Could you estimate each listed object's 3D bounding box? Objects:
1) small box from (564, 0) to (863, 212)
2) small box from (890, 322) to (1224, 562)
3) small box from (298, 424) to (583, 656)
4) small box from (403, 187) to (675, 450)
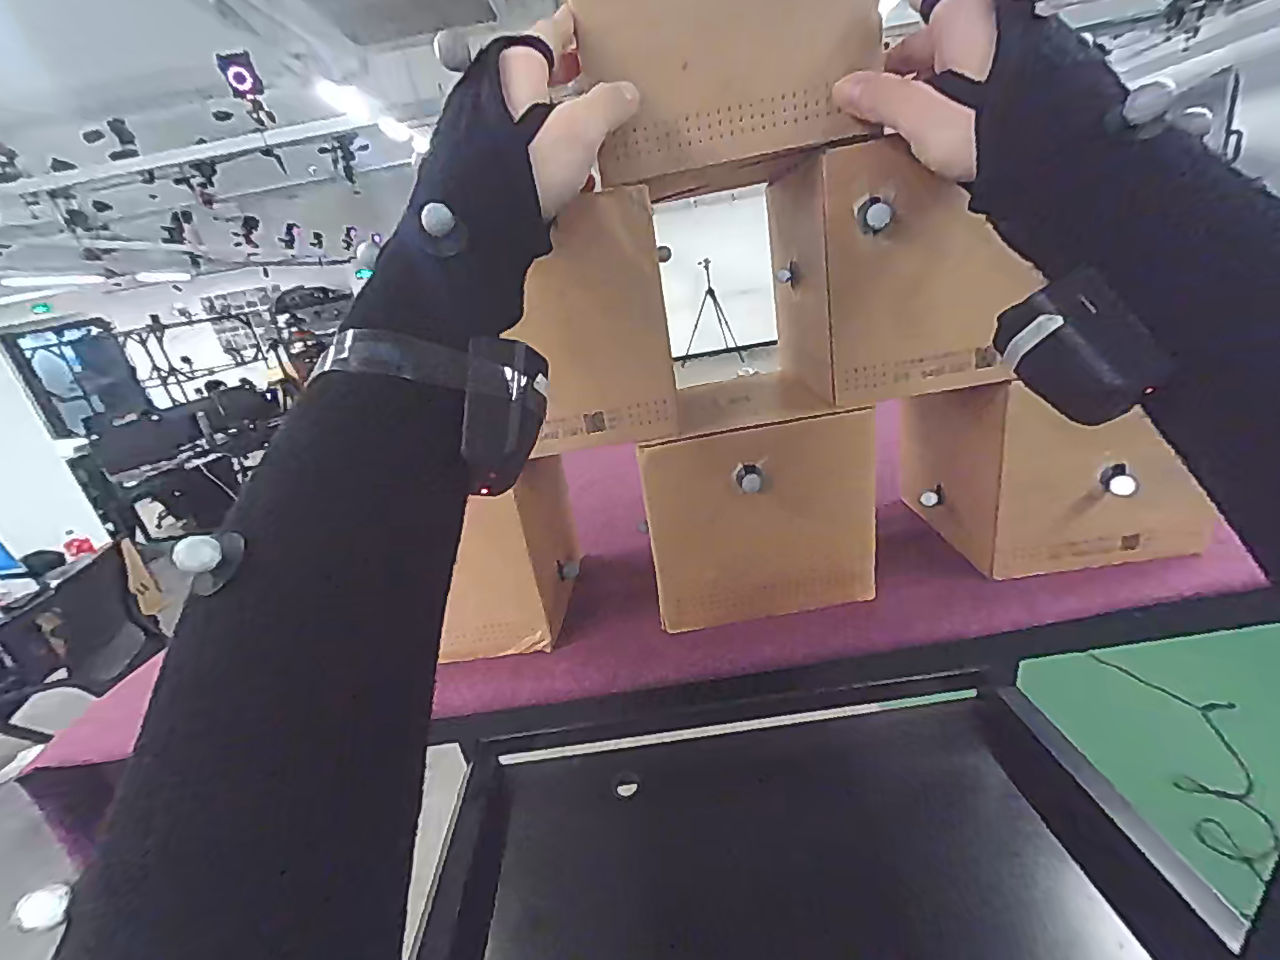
[{"bbox_3d":[0.046,-0.300,0.391,0.179,0.176,0.168,-9,21,5],"label":"small box"},{"bbox_3d":[0.346,-0.036,0.490,0.168,0.176,0.179,-8,21,4],"label":"small box"},{"bbox_3d":[-0.165,0.047,0.510,0.179,0.176,0.168,-7,21,6],"label":"small box"},{"bbox_3d":[-0.066,-0.128,0.459,0.168,0.176,0.179,-9,20,2],"label":"small box"}]
